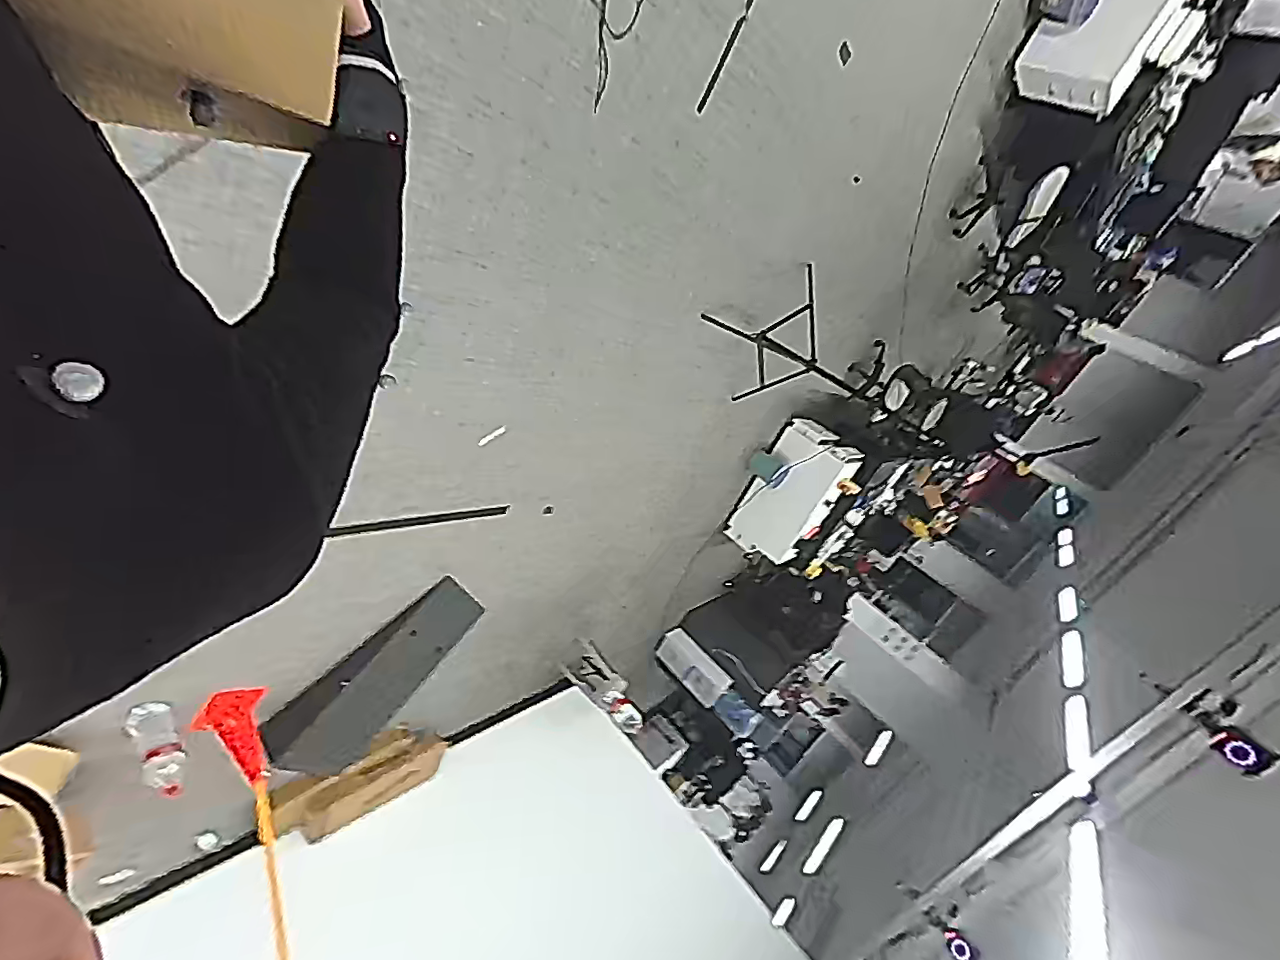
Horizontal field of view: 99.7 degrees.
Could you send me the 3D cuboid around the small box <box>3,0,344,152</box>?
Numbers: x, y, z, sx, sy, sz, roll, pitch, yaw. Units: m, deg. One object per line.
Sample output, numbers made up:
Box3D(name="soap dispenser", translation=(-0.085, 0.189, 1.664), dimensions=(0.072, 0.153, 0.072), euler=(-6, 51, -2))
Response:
Box3D(name="small box", translation=(-0.329, -0.368, 0.381), dimensions=(0.179, 0.168, 0.176), euler=(-12, 178, -34))
